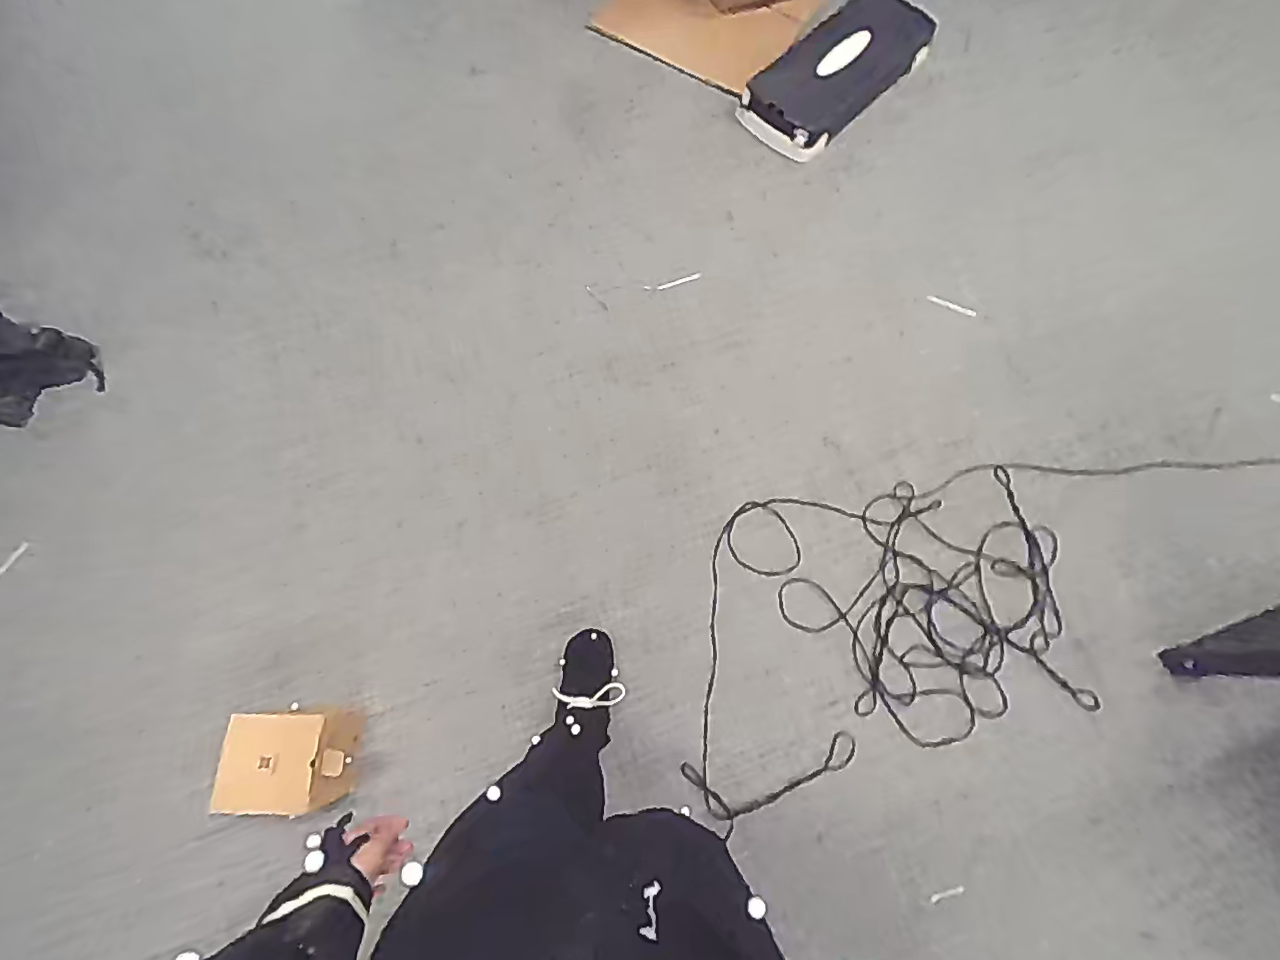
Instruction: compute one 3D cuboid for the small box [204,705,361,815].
[{"bbox_3d":[-0.679,0.535,1.050,0.179,0.176,0.168,2,72,-1],"label":"small box"}]
